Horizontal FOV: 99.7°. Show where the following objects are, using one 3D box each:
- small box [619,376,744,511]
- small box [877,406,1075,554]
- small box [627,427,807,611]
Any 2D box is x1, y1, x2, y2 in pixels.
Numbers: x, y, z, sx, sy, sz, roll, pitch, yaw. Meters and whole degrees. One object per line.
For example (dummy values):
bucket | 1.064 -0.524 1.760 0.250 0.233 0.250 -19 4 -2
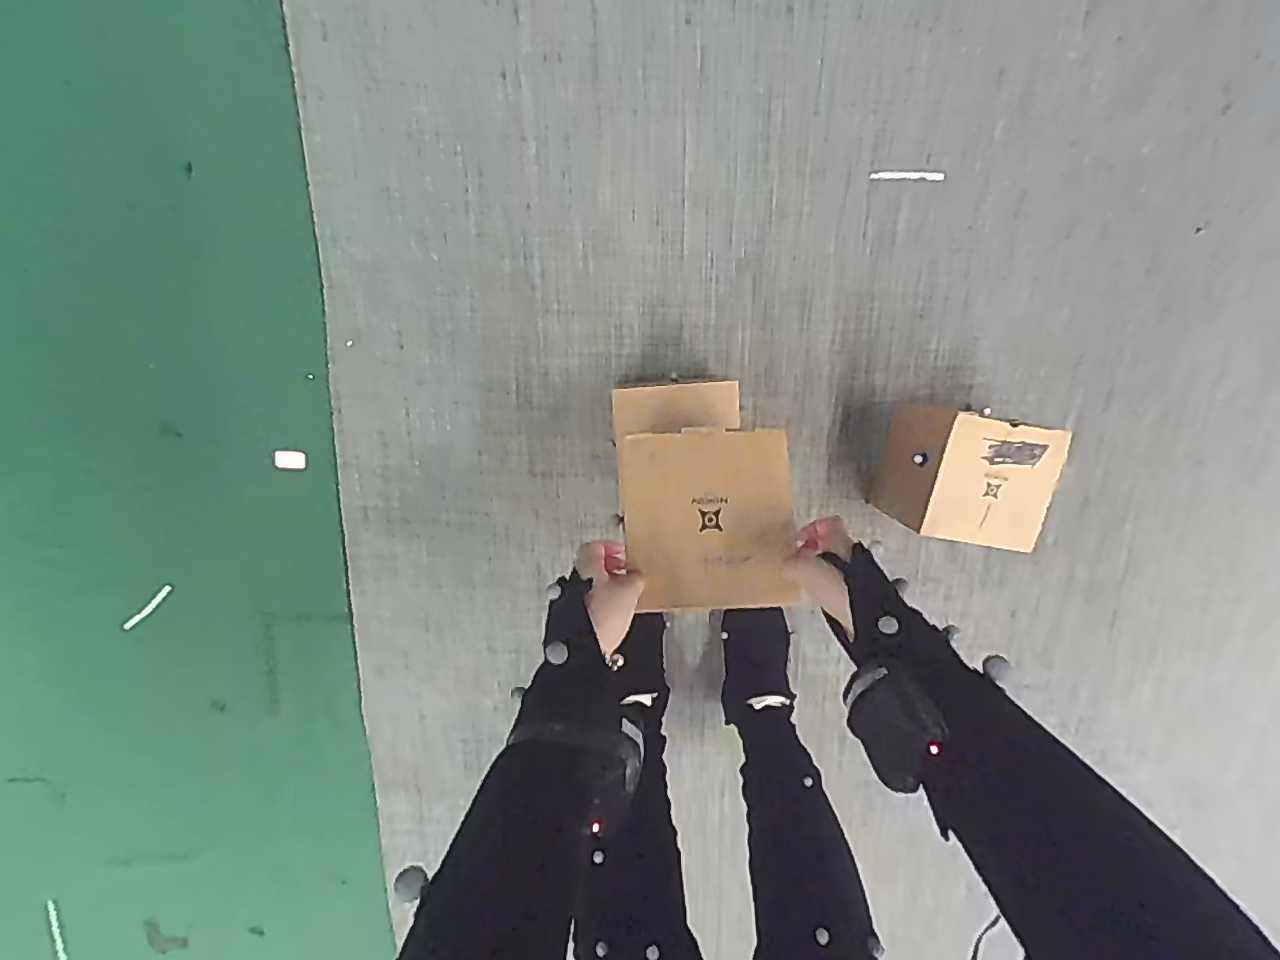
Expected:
small box | 0.054 -0.059 0.788 0.168 0.176 0.179 -4 102 0
small box | 0.480 -0.010 0.804 0.168 0.176 0.179 9 102 -2
small box | 0.070 0.051 0.593 0.168 0.176 0.179 -2 78 -1
